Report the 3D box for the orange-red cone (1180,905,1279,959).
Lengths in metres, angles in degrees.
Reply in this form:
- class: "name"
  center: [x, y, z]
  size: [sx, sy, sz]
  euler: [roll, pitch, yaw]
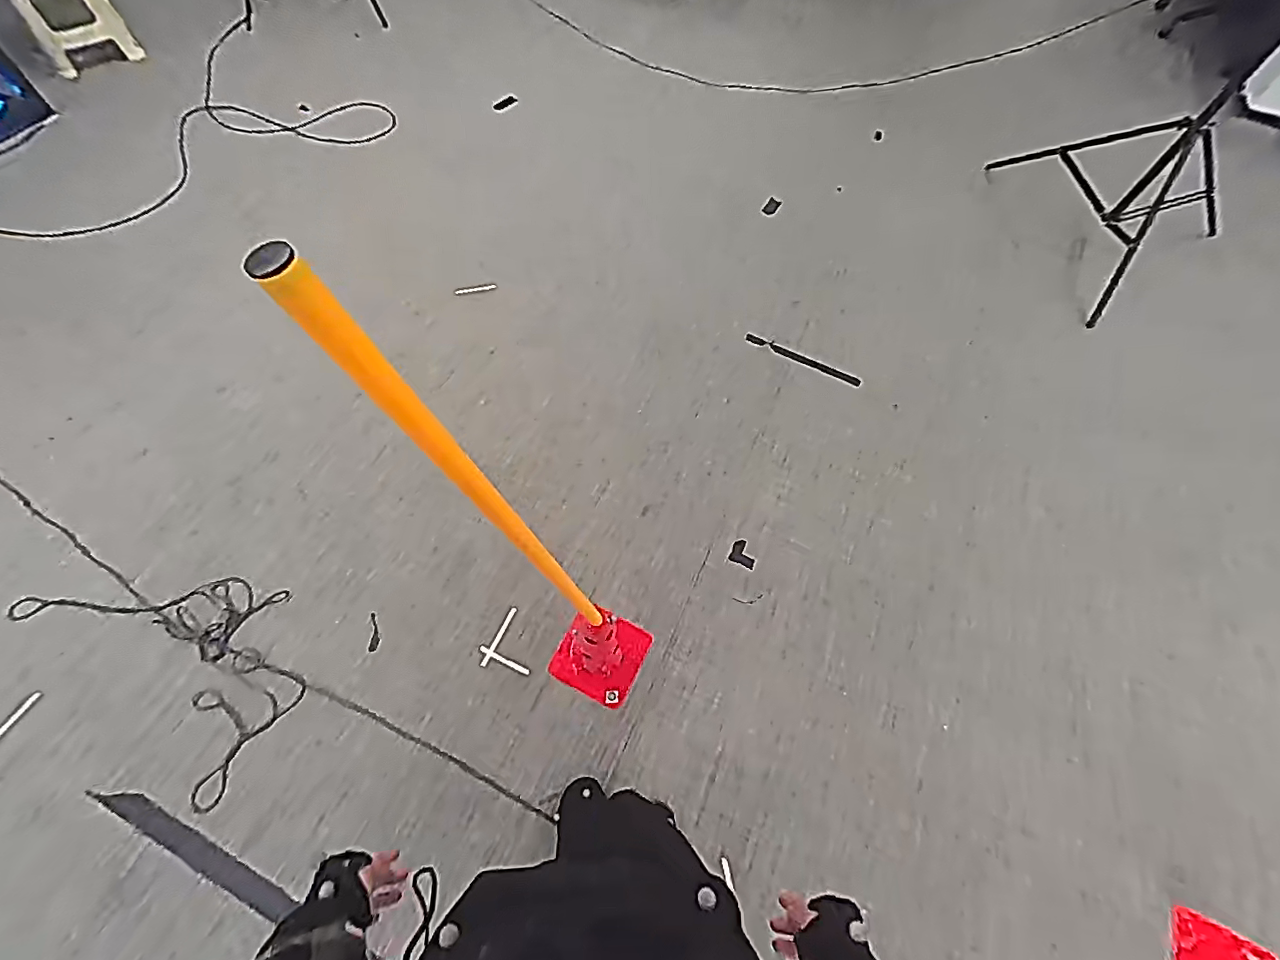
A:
- class: "orange-red cone"
  center: [1.175, 0.913, 0.913]
  size: [0.199, 0.360, 0.198]
  euler: [28, 65, 11]
